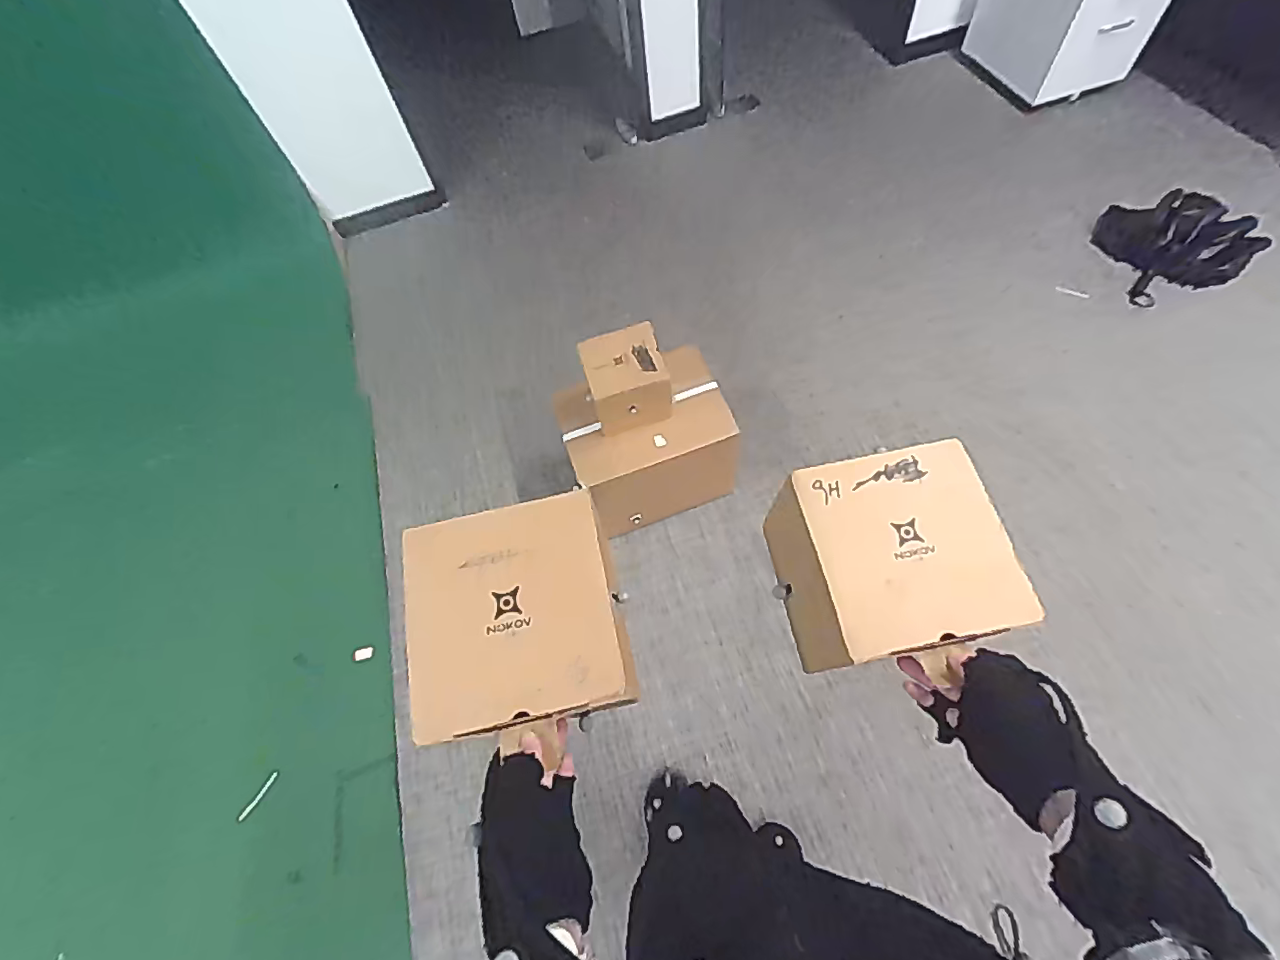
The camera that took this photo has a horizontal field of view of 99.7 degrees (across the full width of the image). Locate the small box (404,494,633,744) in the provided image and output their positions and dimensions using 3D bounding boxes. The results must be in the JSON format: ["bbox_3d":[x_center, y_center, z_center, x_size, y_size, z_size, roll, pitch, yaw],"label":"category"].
[{"bbox_3d":[-0.106,0.138,0.521,0.168,0.176,0.179,-13,66,-3],"label":"small box"}]

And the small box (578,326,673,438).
[{"bbox_3d":[-0.031,-0.226,1.273,0.179,0.176,0.168,-20,67,-4],"label":"small box"}]
